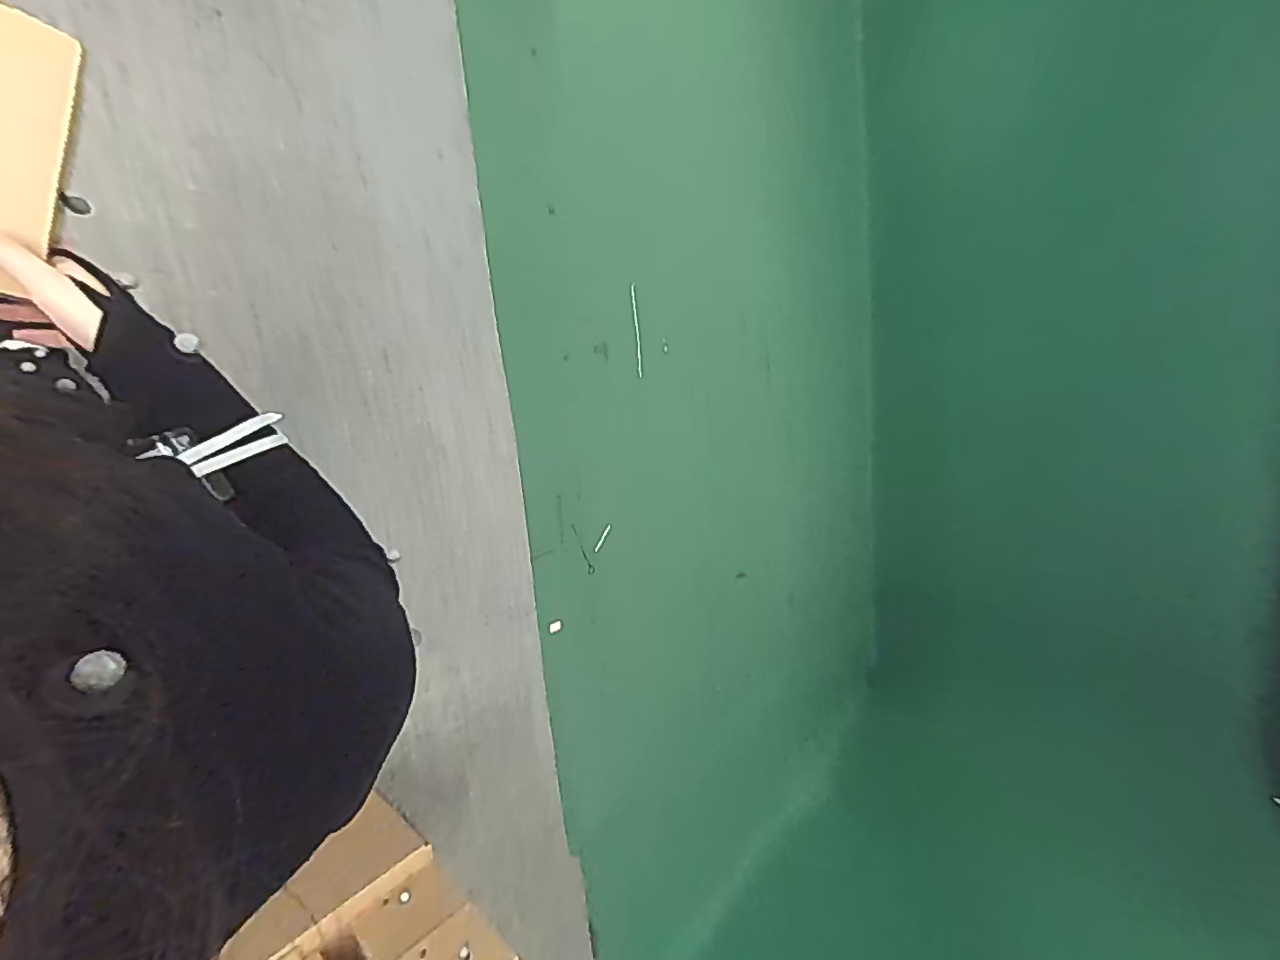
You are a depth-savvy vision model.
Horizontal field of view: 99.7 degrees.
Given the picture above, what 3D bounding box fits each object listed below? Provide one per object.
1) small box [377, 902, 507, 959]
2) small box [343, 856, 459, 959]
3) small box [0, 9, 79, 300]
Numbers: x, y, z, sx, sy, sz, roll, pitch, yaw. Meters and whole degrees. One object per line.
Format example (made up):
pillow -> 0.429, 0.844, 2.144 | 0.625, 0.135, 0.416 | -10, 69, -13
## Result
small box -> -0.343, 0.897, 0.951 | 0.168, 0.176, 0.179 | -15, 104, -45
small box -> -0.461, 0.901, 1.064 | 0.168, 0.176, 0.179 | -14, 102, -45
small box -> -0.506, -0.233, 0.362 | 0.168, 0.176, 0.179 | 10, 94, -48
